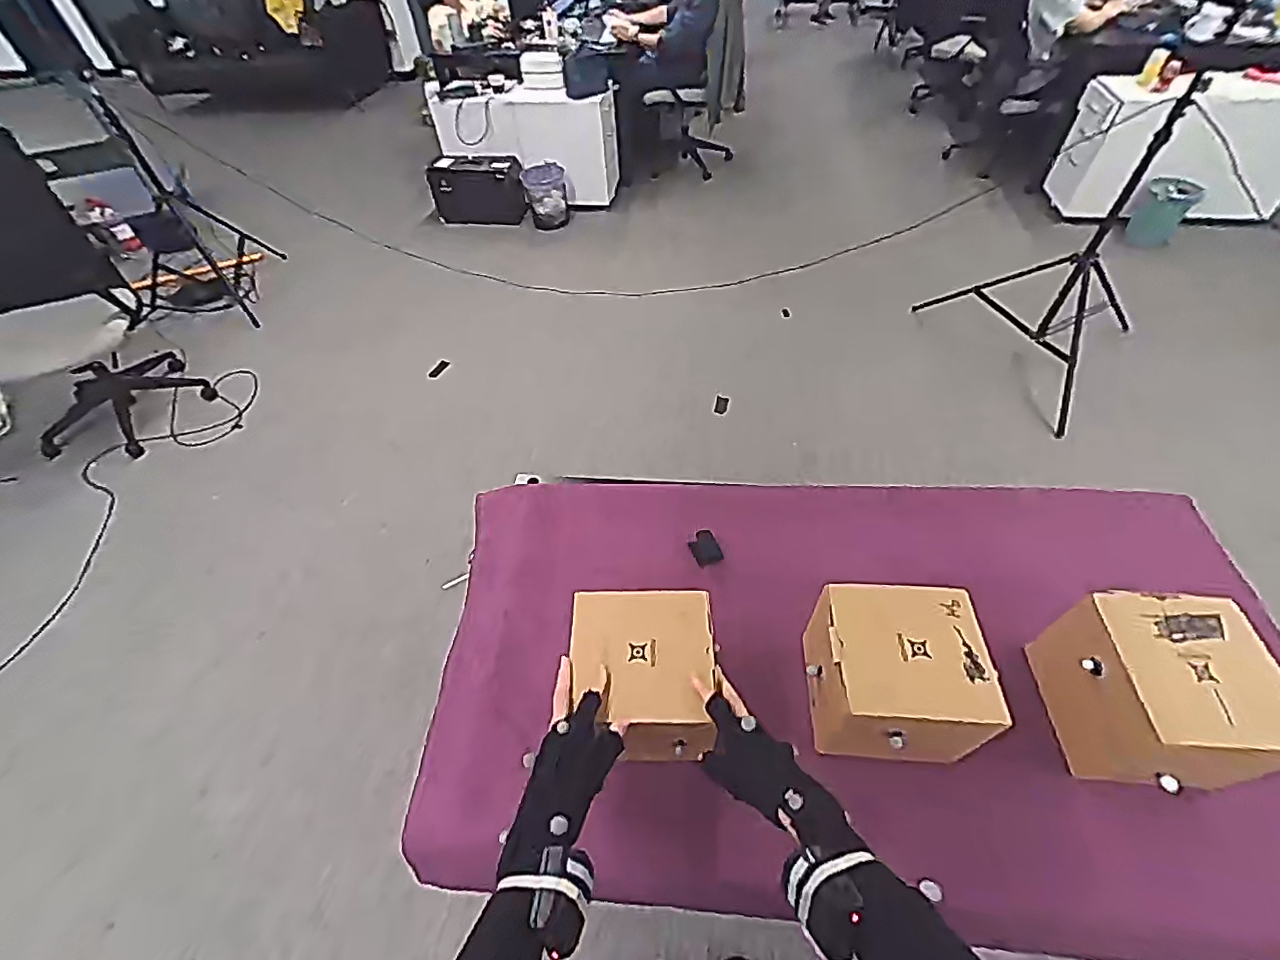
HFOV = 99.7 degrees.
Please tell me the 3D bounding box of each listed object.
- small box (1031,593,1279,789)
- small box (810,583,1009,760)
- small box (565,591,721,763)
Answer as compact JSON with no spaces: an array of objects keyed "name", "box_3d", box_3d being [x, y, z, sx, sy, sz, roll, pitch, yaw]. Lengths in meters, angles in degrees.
[{"name":"small box","box_3d":[0.633,0.260,0.668,0.168,0.176,0.179,1,50,5]},{"name":"small box","box_3d":[0.324,0.249,0.699,0.179,0.176,0.168,1,49,6]},{"name":"small box","box_3d":[0.007,0.261,0.710,0.179,0.176,0.168,-2,48,3]}]
